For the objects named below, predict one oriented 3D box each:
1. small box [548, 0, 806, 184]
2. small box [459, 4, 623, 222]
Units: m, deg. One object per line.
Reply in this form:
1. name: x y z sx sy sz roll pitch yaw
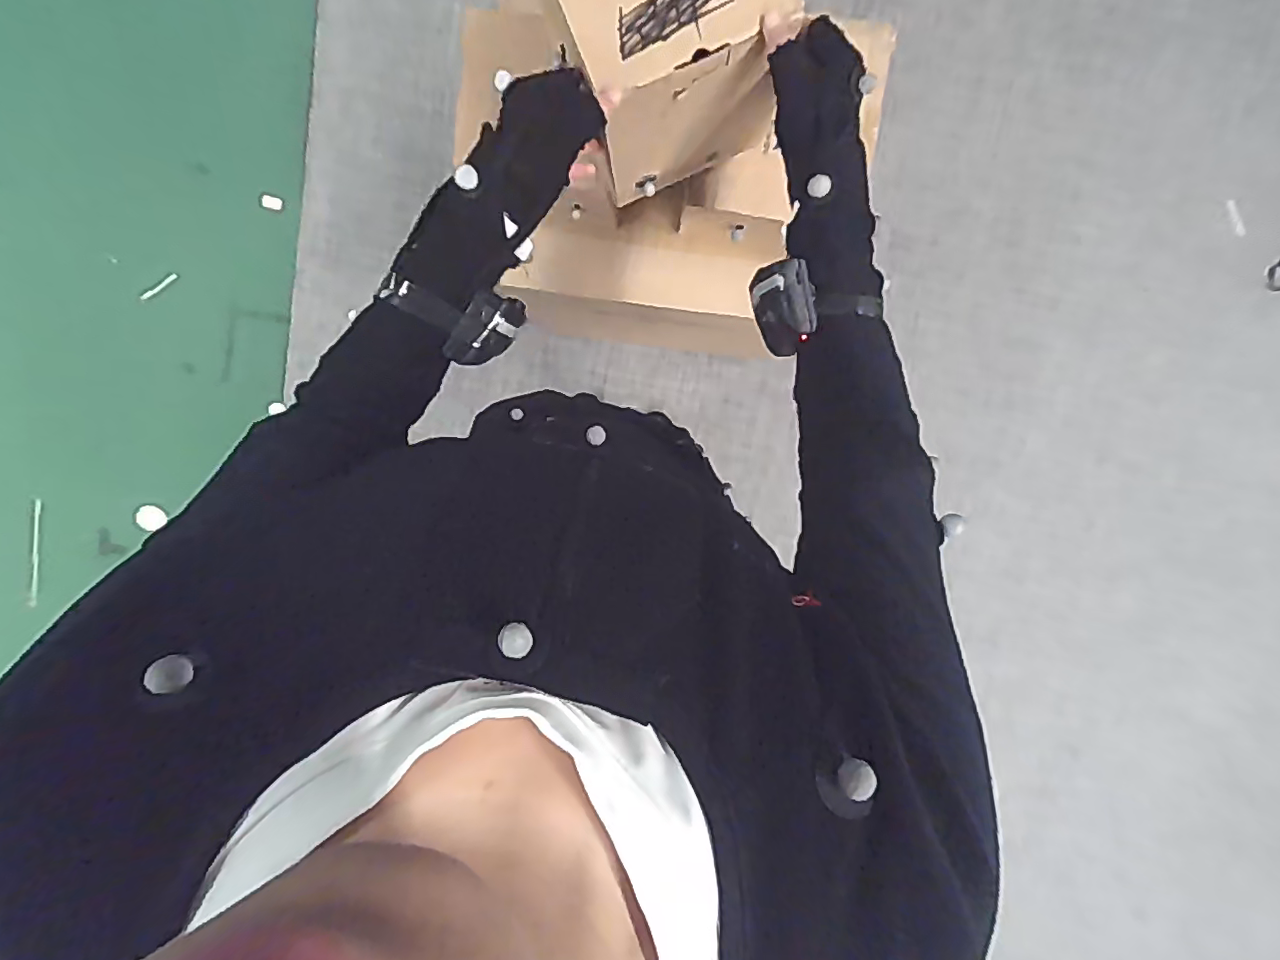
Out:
1. small box: 0.020 -0.395 0.474 0.168 0.176 0.179 -22 91 3
2. small box: -0.106 -0.433 0.669 0.179 0.176 0.168 7 101 1
